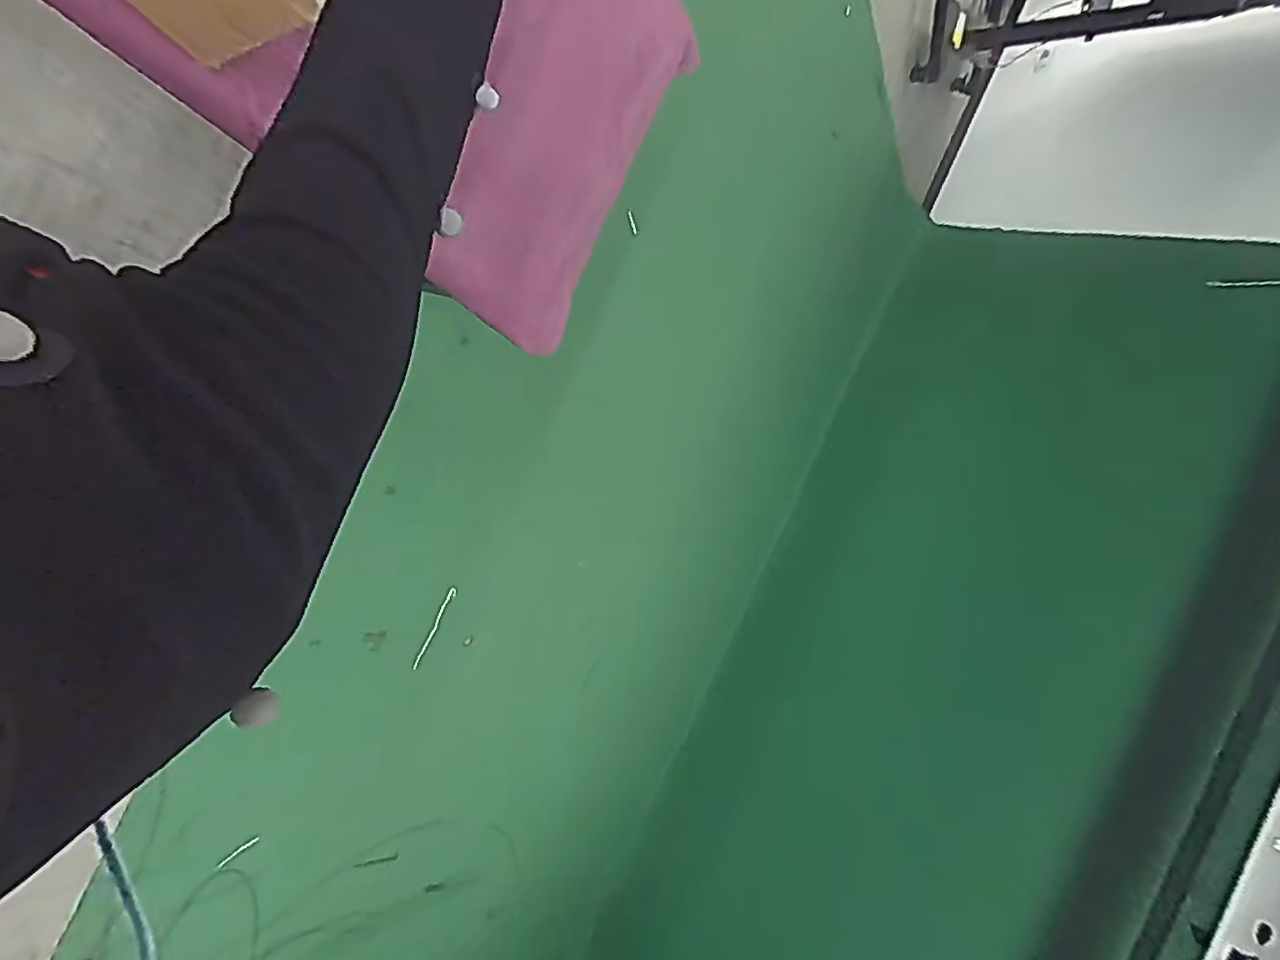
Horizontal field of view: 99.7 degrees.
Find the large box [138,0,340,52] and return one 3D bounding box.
[{"bbox_3d":[-0.311,-0.600,0.354,0.320,0.320,0.408,34,82,-53],"label":"large box"}]
